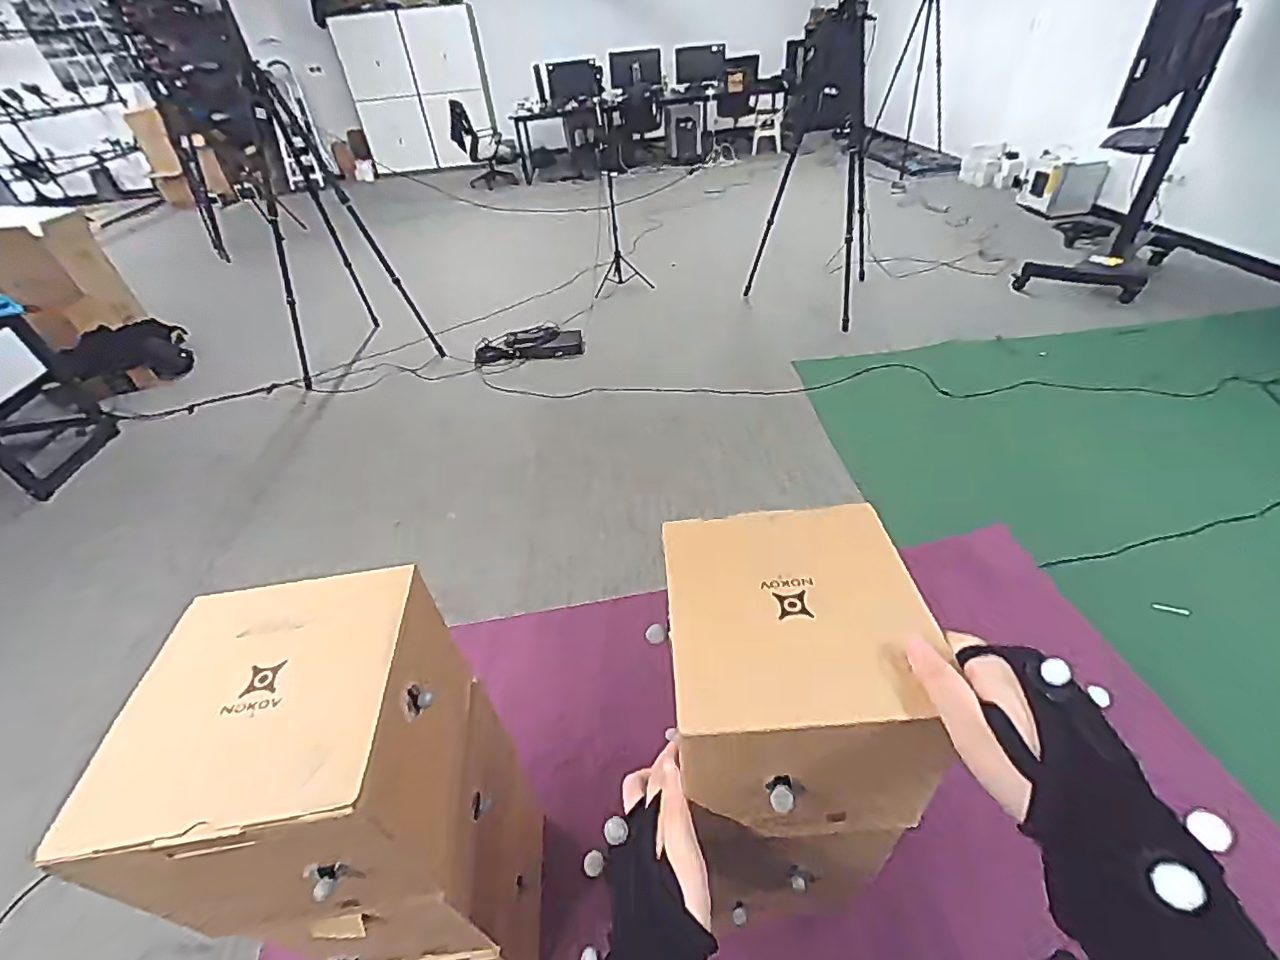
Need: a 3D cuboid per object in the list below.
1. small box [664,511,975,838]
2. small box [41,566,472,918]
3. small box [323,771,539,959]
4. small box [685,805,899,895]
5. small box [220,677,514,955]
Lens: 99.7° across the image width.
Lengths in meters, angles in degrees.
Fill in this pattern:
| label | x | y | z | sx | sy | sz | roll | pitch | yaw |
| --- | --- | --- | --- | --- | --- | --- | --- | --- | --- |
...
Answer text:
| label | x | y | z | sx | sy | sz | roll | pitch | yaw |
| --- | --- | --- | --- | --- | --- | --- | --- | --- | --- |
| small box | 0.108 | 0.147 | 0.407 | 0.168 | 0.176 | 0.179 | -4 | 39 | 3 |
| small box | -0.233 | 0.192 | 0.396 | 0.168 | 0.176 | 0.179 | -7 | 40 | -3 |
| small box | -0.211 | 0.443 | 0.605 | 0.168 | 0.176 | 0.179 | -6 | 41 | -2 |
| small box | 0.123 | 0.265 | 0.520 | 0.168 | 0.176 | 0.179 | -6 | 39 | 1 |
| small box | -0.222 | 0.313 | 0.503 | 0.168 | 0.176 | 0.179 | -6 | 39 | -1 |
